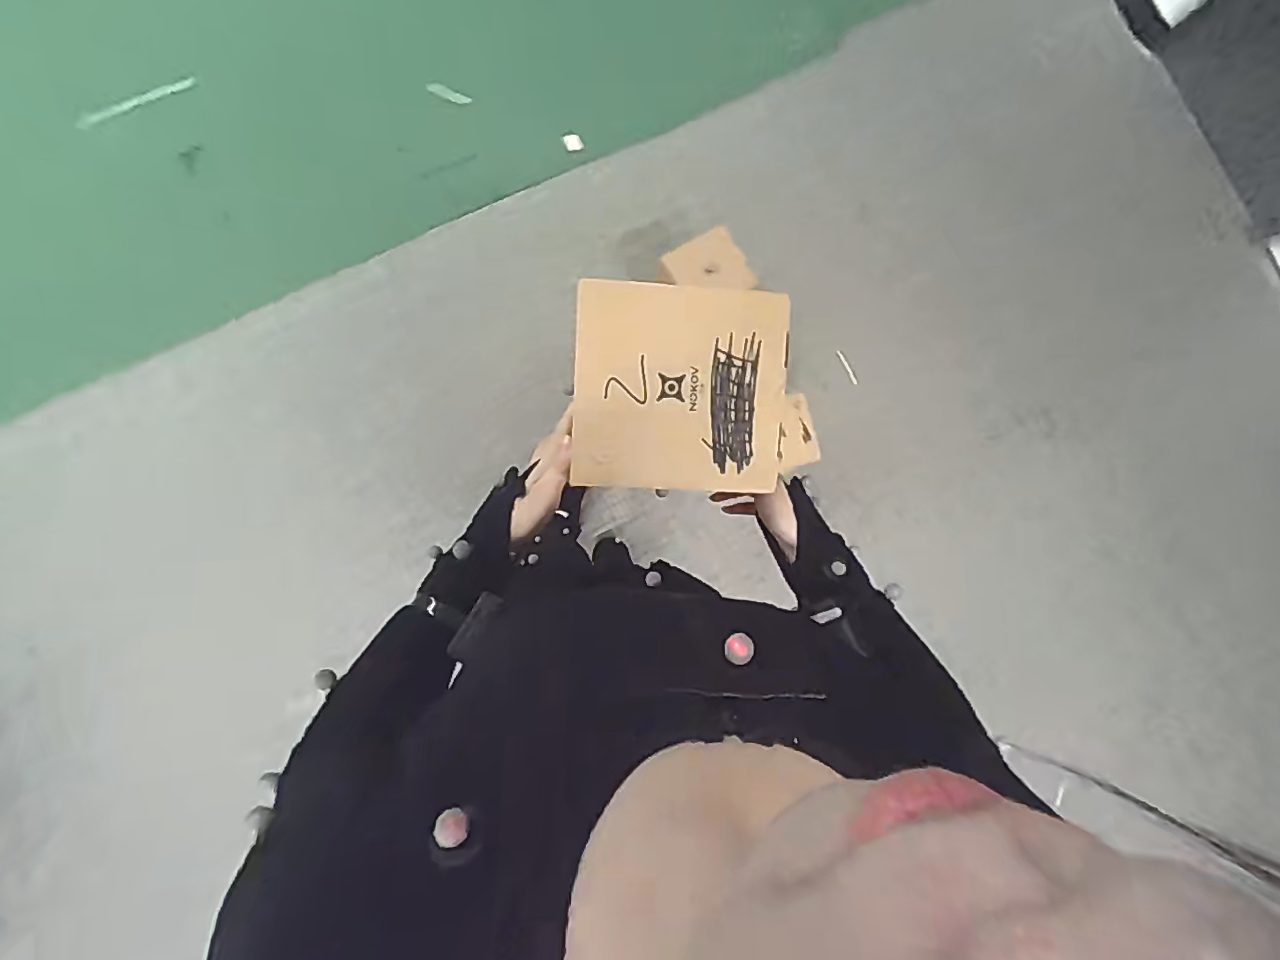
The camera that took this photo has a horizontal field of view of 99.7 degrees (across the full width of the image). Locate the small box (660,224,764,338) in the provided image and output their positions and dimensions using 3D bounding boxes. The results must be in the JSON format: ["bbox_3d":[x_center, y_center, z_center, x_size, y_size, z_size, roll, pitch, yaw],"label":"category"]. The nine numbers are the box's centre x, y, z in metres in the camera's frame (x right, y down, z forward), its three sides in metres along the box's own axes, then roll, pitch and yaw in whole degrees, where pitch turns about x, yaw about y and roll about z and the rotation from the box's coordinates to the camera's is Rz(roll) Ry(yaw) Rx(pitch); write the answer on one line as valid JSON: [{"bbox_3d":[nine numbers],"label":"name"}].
[{"bbox_3d":[0.166,-0.475,1.314,0.179,0.176,0.168,-31,89,-6],"label":"small box"}]

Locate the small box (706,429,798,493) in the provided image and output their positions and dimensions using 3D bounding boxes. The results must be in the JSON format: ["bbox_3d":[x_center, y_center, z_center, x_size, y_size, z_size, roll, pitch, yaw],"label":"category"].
[{"bbox_3d":[0.296,-0.067,1.463,0.179,0.176,0.168,-17,88,-5],"label":"small box"}]

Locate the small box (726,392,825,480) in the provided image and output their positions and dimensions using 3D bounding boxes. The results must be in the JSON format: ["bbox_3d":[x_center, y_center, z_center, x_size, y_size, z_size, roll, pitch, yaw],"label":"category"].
[{"bbox_3d":[0.314,-0.099,1.303,0.179,0.176,0.168,-13,87,-5],"label":"small box"}]
